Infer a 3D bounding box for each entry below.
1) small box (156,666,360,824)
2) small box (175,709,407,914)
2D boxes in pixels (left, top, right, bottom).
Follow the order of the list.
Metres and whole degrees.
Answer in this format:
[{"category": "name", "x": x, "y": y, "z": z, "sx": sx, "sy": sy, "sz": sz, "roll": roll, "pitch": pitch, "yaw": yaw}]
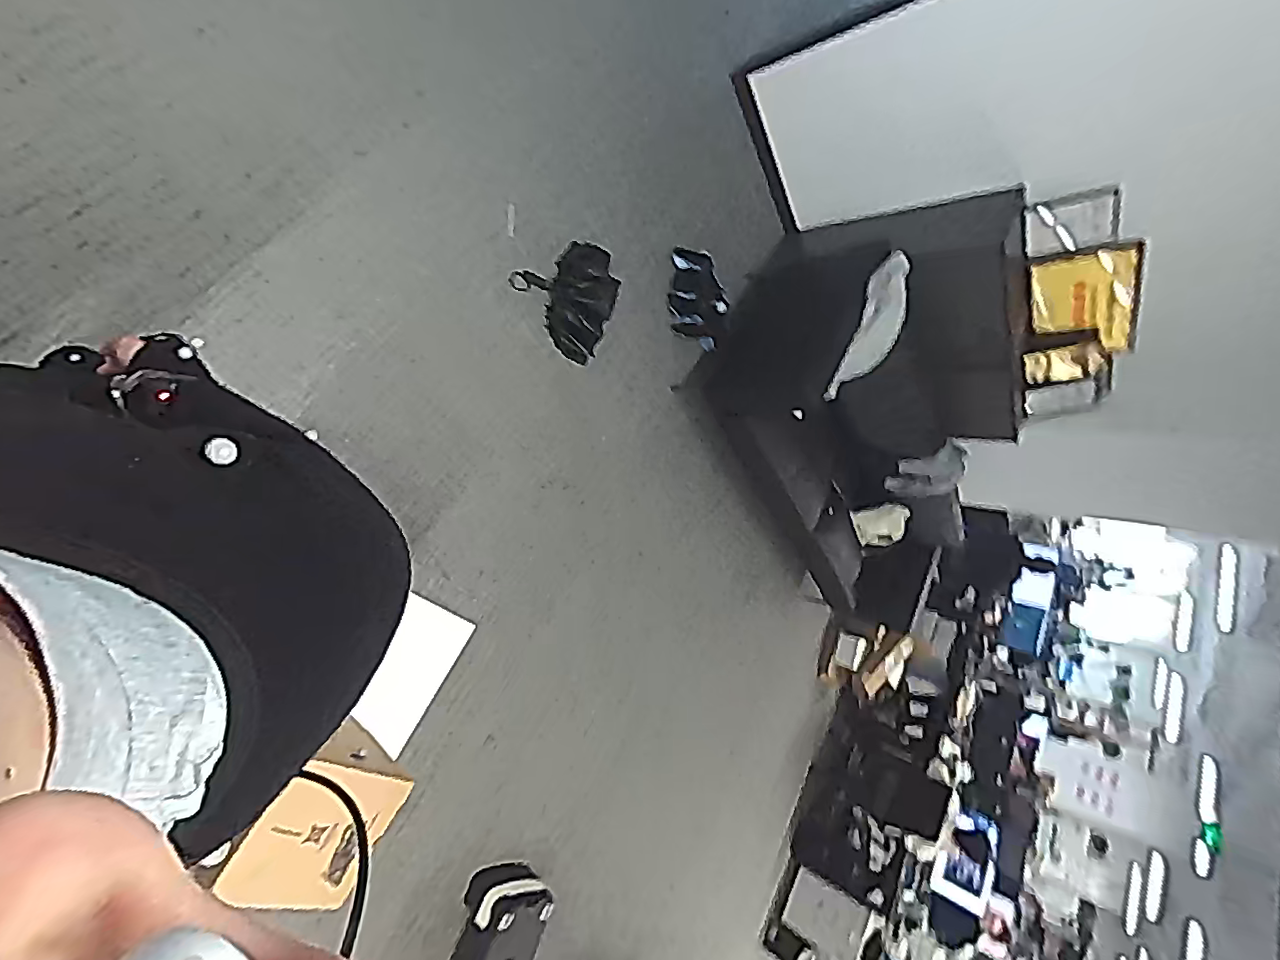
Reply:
[{"category": "small box", "x": -0.580, "y": 0.405, "z": 0.822, "sx": 0.179, "sy": 0.176, "sz": 0.168, "roll": 48, "pitch": 63, "yaw": -44}, {"category": "small box", "x": -0.458, "y": 0.429, "z": 0.715, "sx": 0.179, "sy": 0.176, "sz": 0.168, "roll": 48, "pitch": 63, "yaw": -41}]
